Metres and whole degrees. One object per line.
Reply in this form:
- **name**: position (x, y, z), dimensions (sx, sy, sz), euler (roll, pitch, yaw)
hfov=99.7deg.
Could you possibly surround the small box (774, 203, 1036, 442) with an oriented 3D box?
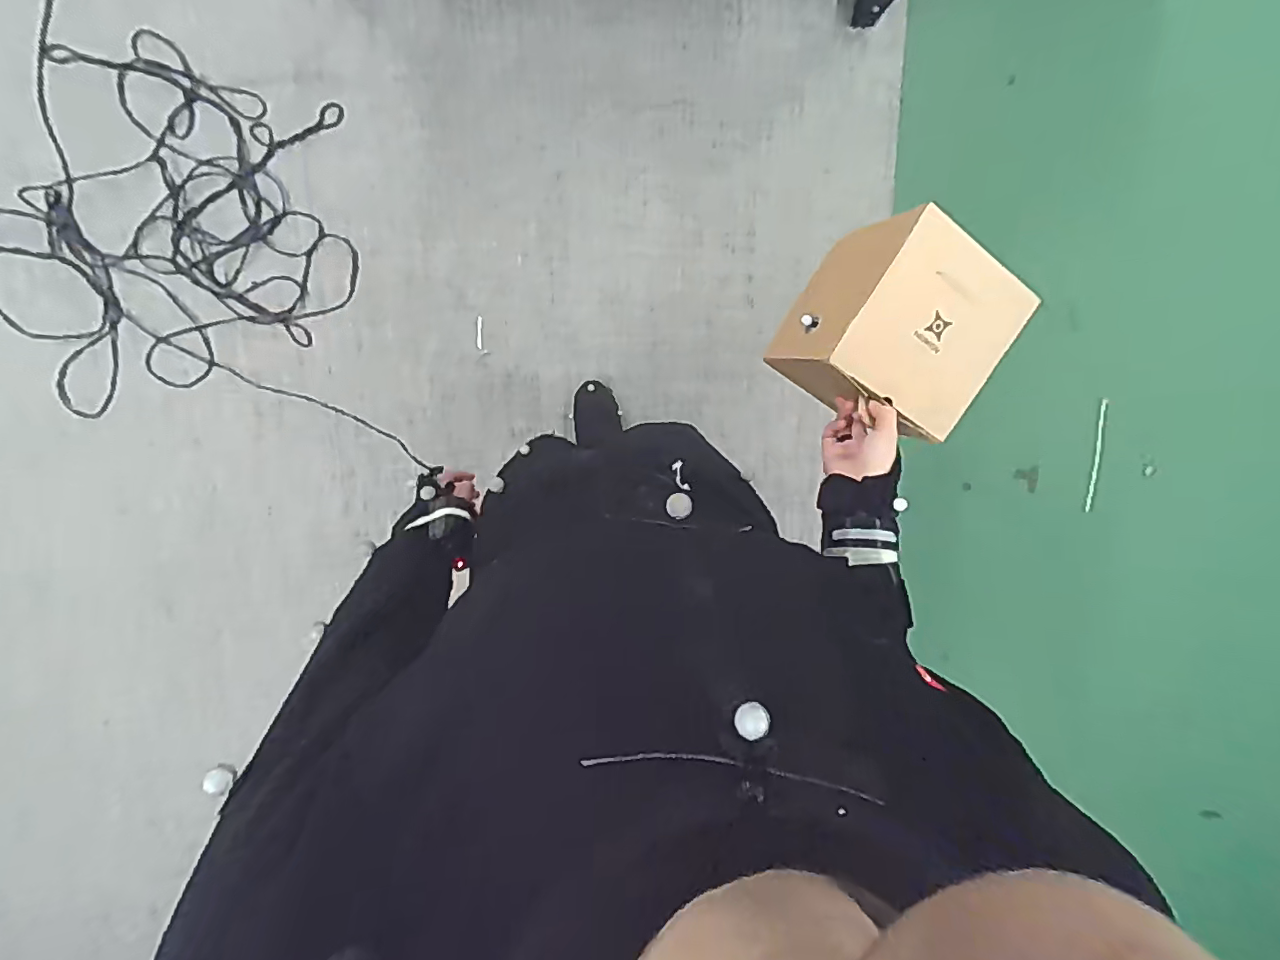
- **small box**: position (0.277, -0.166, 0.613), dimensions (0.168, 0.176, 0.179), euler (29, 95, -15)
